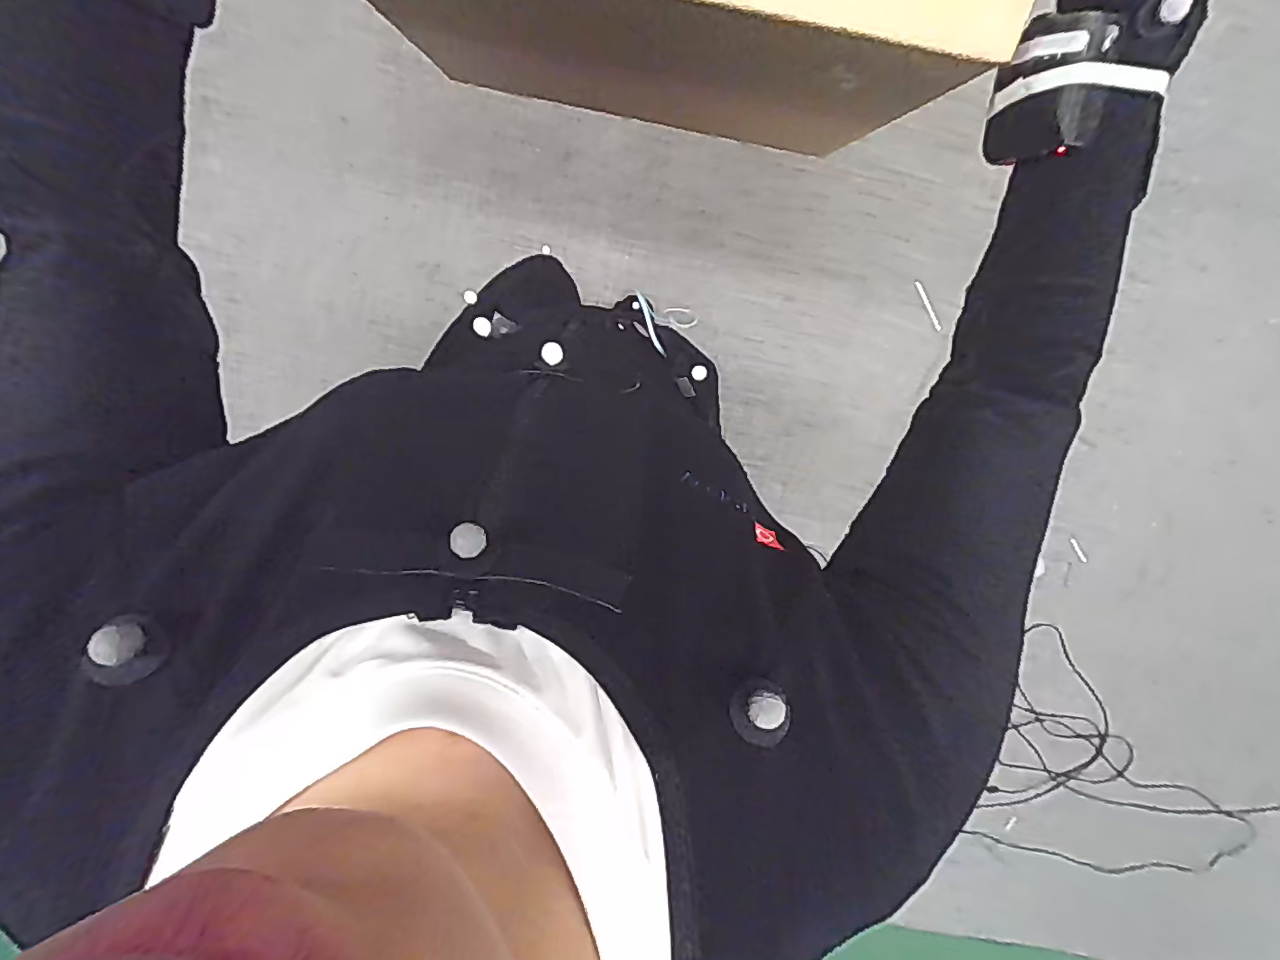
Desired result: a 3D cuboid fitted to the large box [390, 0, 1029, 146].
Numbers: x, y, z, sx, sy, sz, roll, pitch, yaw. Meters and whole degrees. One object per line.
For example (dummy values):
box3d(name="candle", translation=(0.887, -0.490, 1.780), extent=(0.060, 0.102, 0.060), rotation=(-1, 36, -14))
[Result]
box3d(name="large box", translation=(0.034, -0.466, 0.373), extent=(0.408, 0.320, 0.320), rotation=(8, 113, -5))
